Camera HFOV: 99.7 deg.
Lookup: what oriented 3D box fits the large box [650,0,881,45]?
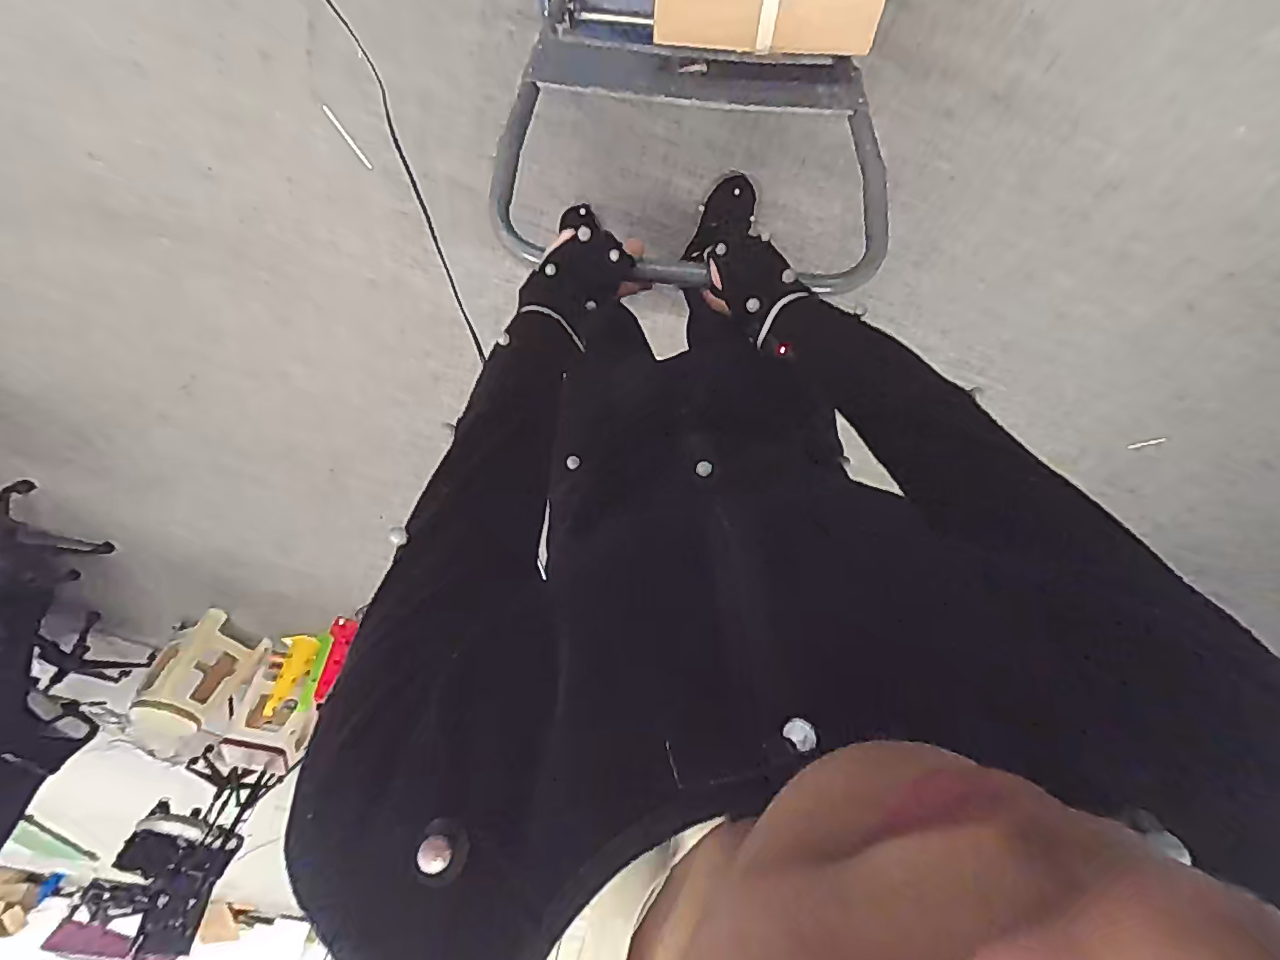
[{"bbox_3d":[0.184,-0.859,0.691,0.320,0.320,0.408,4,146,1],"label":"large box"}]
